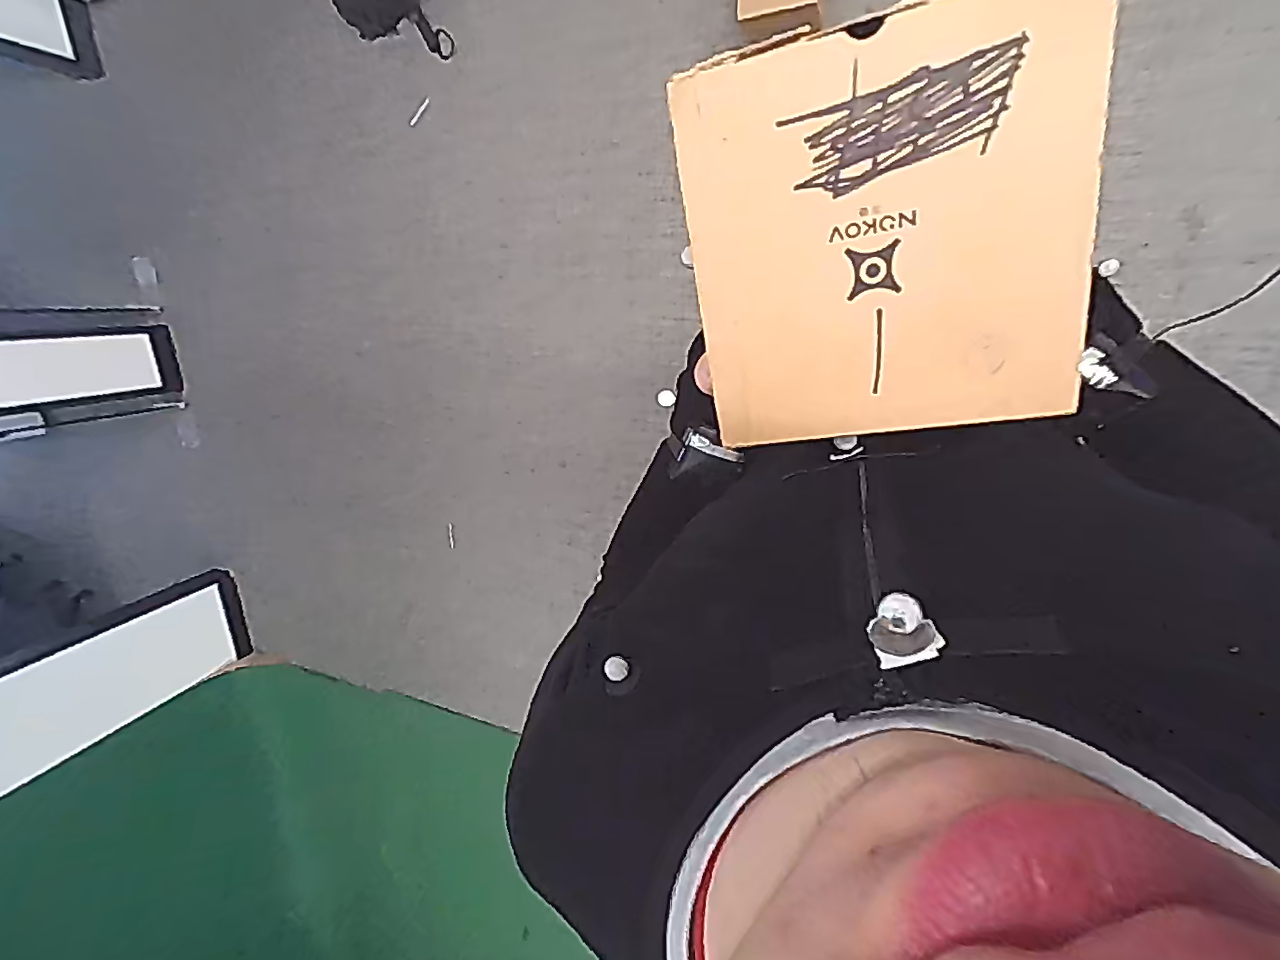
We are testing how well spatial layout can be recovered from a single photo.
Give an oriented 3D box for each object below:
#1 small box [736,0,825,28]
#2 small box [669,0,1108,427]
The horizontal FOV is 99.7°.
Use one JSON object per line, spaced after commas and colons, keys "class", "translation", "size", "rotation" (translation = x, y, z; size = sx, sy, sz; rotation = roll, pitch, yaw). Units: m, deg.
{"class": "small box", "translation": [0.306, -1.082, 1.155], "size": [0.168, 0.176, 0.179], "rotation": [6, 111, 23]}
{"class": "small box", "translation": [0.123, -0.145, 0.313], "size": [0.168, 0.176, 0.179], "rotation": [-4, 114, 18]}
